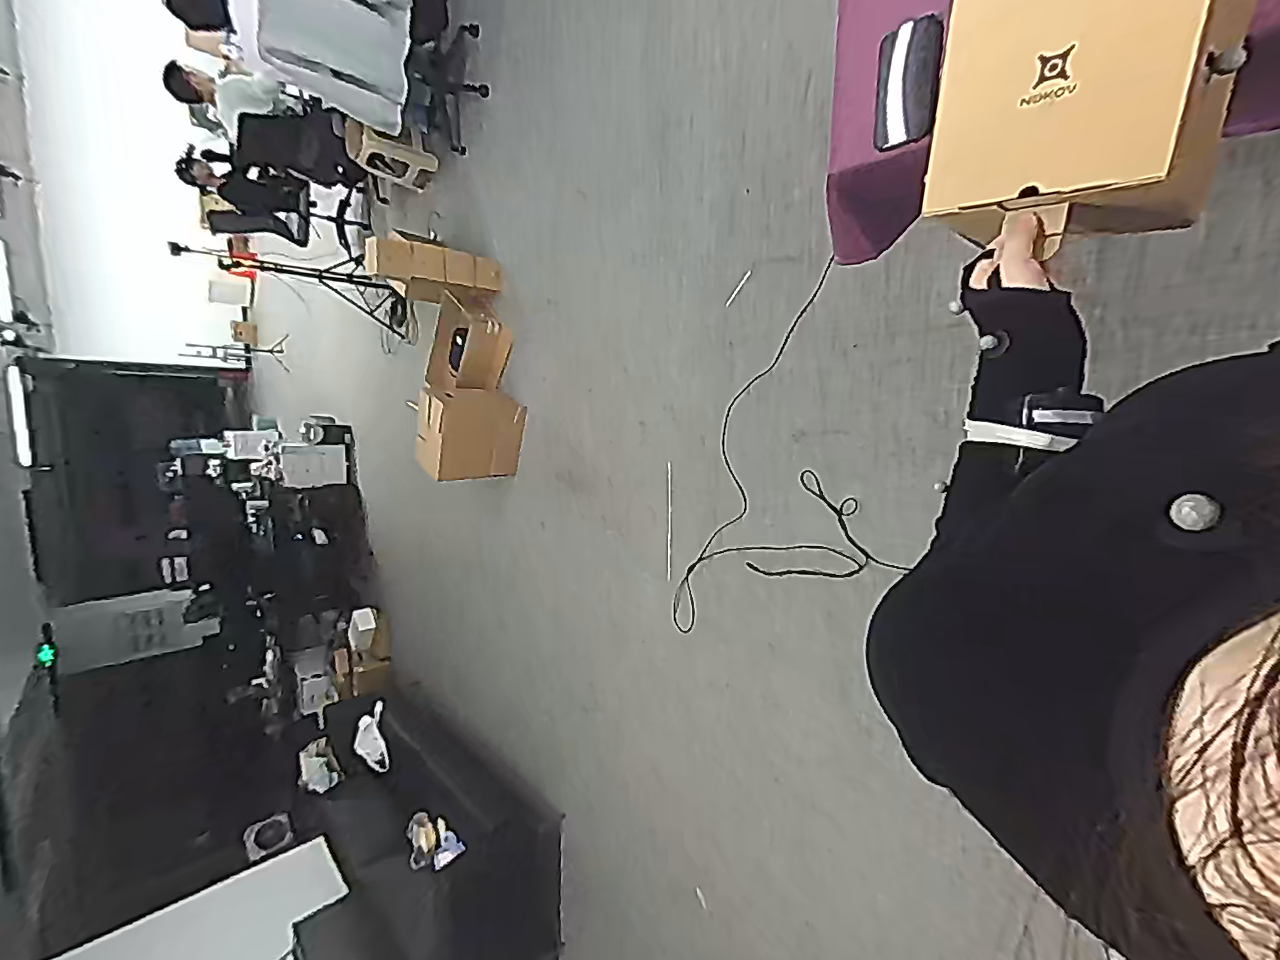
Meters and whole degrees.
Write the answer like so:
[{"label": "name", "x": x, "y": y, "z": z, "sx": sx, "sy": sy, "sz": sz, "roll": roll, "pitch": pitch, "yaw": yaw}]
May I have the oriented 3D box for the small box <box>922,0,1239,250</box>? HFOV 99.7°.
[{"label": "small box", "x": 0.374, "y": -0.311, "z": 0.465, "sx": 0.168, "sy": 0.176, "sz": 0.179, "roll": 18, "pitch": 110, "yaw": 46}]
